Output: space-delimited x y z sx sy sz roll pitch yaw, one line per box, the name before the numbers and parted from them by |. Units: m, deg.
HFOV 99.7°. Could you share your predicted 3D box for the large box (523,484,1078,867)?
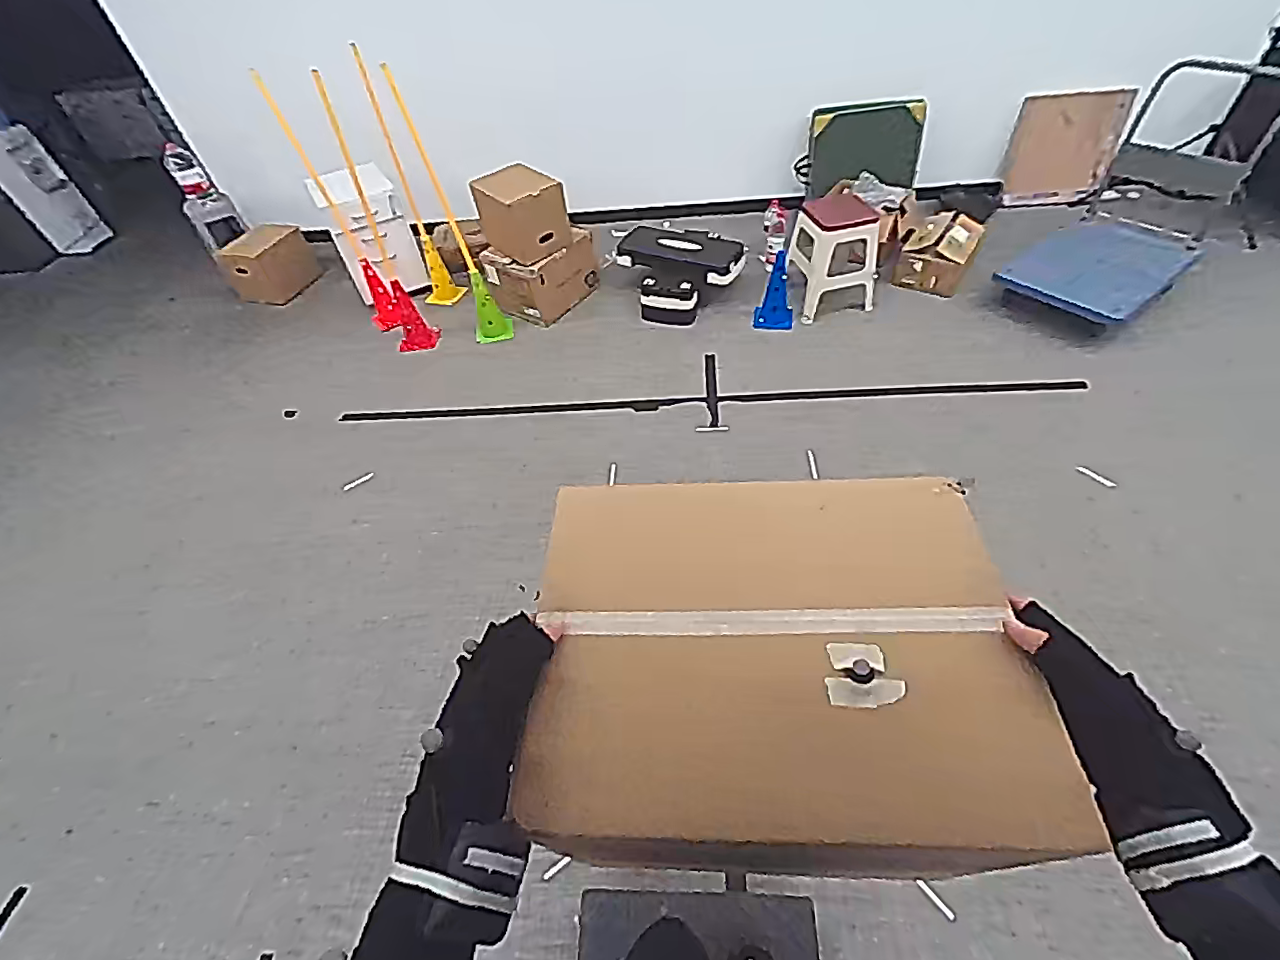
large box | 0.122 0.224 0.595 0.408 0.320 0.320 -2 51 5
